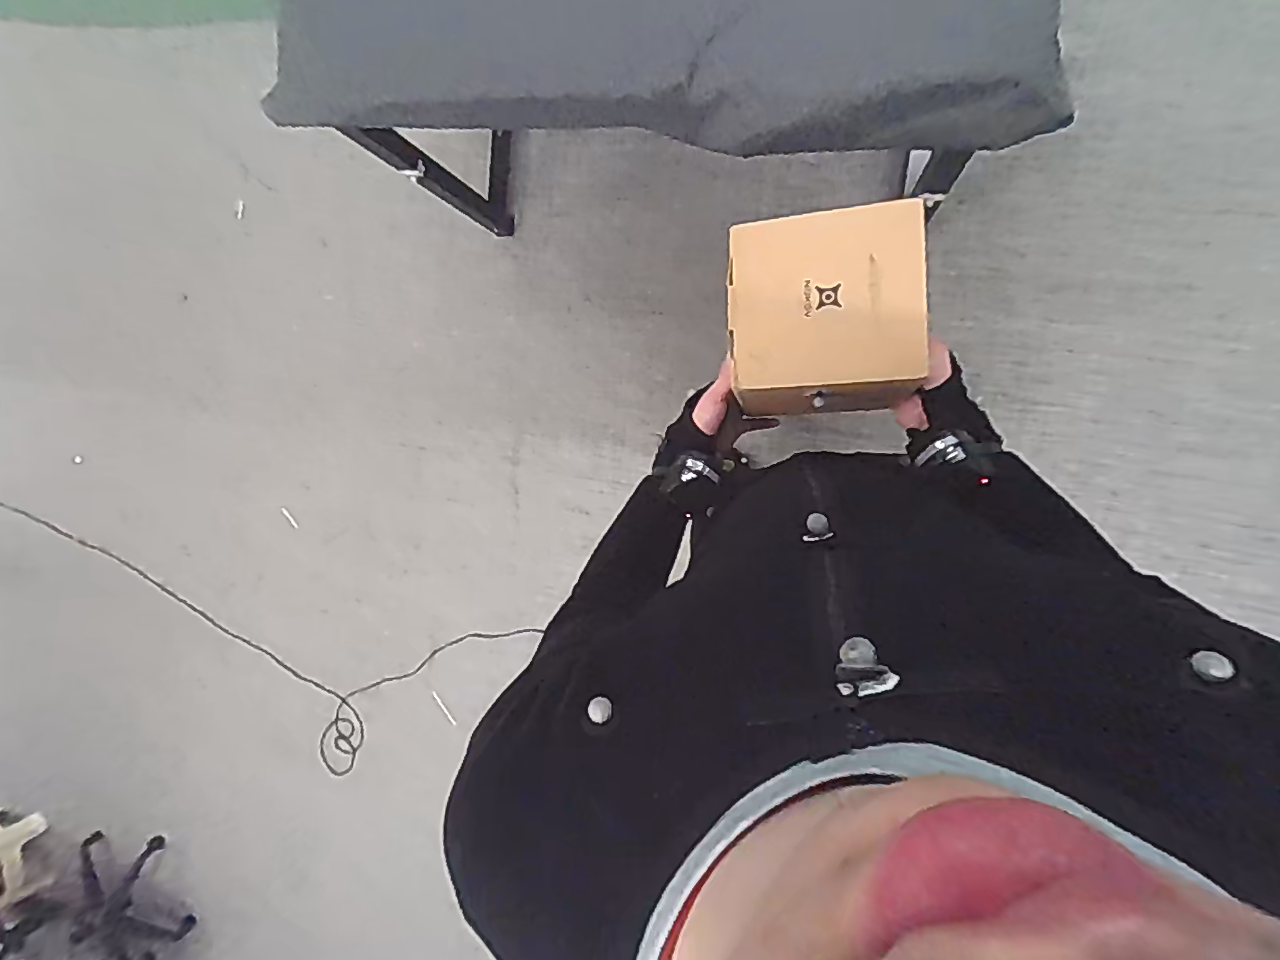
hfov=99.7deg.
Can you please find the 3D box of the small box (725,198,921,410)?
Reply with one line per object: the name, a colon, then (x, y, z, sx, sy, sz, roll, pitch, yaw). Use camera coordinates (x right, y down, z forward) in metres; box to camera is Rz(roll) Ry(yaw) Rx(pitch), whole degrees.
small box: (0.188, -0.170, 0.582, 0.179, 0.176, 0.168, 0, 89, 14)
